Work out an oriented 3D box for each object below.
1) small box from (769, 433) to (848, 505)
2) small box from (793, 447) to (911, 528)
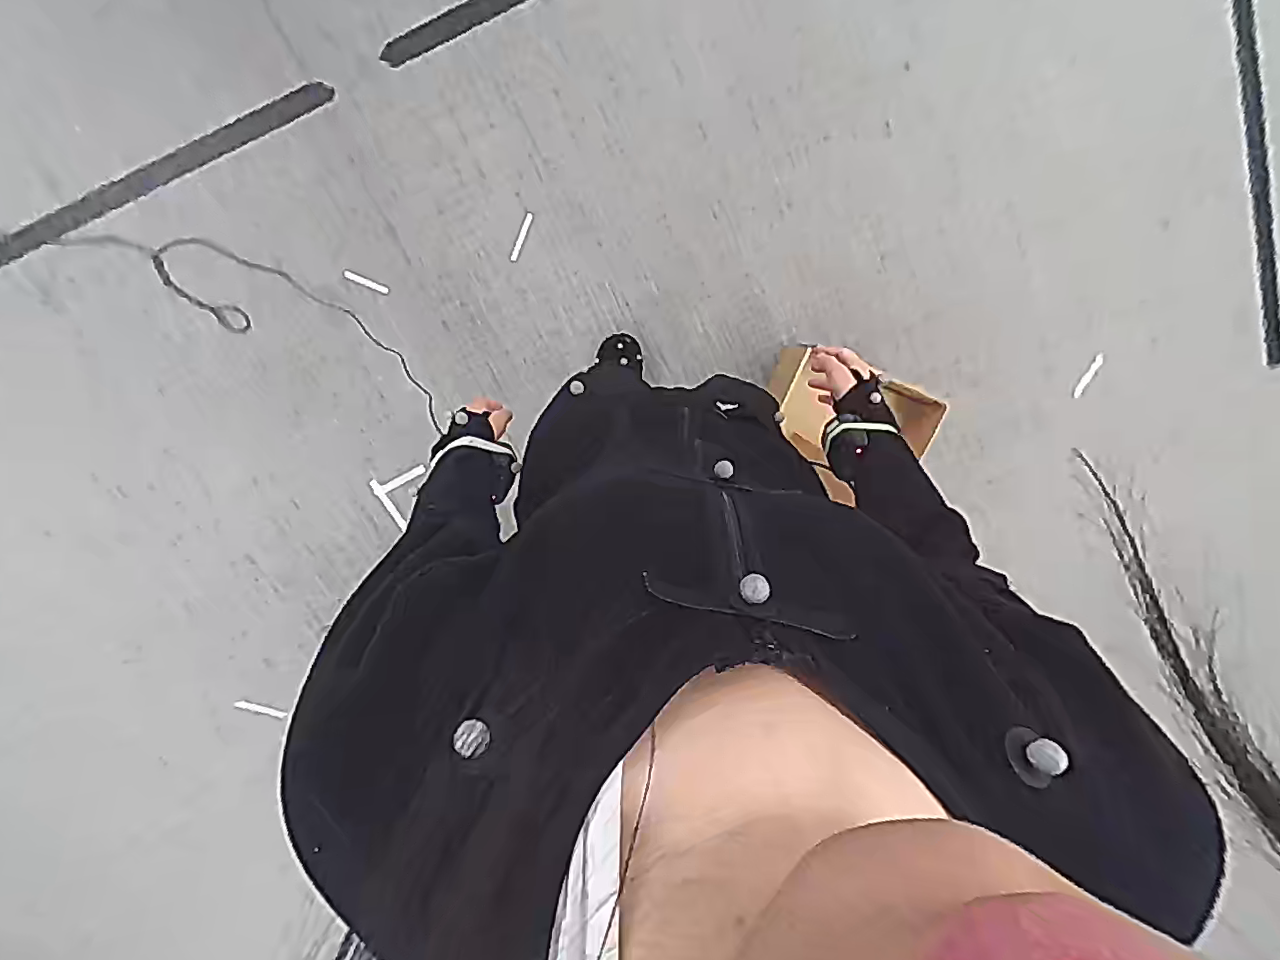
[{"bbox_3d":[0.469,-0.012,1.424,0.179,0.176,0.168,20,104,-9],"label":"small box"},{"bbox_3d":[0.484,0.031,1.269,0.179,0.176,0.168,15,106,-10],"label":"small box"}]
